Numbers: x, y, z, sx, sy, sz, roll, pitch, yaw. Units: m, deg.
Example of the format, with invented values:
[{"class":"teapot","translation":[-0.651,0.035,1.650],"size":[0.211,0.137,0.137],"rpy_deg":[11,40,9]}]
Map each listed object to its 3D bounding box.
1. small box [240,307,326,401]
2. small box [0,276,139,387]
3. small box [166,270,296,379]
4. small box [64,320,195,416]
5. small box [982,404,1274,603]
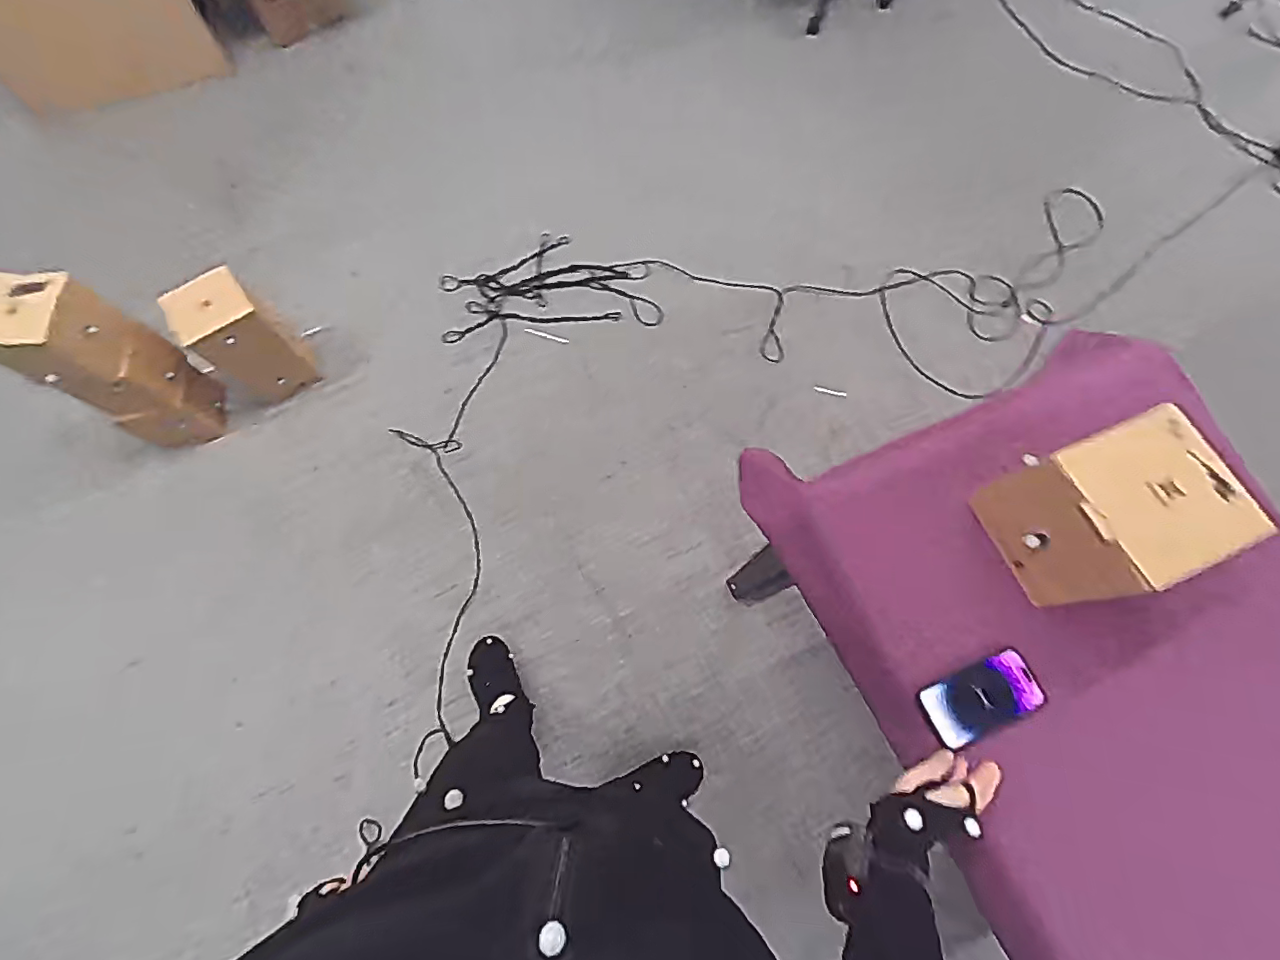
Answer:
[{"class":"small box","translation":[-1.038,-0.348,1.541],"size":[0.168,0.176,0.179],"rpy_deg":[-31,73,-11]},{"class":"small box","translation":[-1.261,-0.320,1.183],"size":[0.168,0.176,0.179],"rpy_deg":[-2,70,-2]},{"class":"small box","translation":[-1.036,-0.390,1.383],"size":[0.179,0.176,0.168],"rpy_deg":[-35,75,-12]},{"class":"small box","translation":[-1.266,-0.272,1.340],"size":[0.179,0.176,0.168],"rpy_deg":[-7,70,-4]},{"class":"small box","translation":[0.563,0.039,0.661],"size":[0.179,0.176,0.168],"rpy_deg":[-21,72,-8]}]
